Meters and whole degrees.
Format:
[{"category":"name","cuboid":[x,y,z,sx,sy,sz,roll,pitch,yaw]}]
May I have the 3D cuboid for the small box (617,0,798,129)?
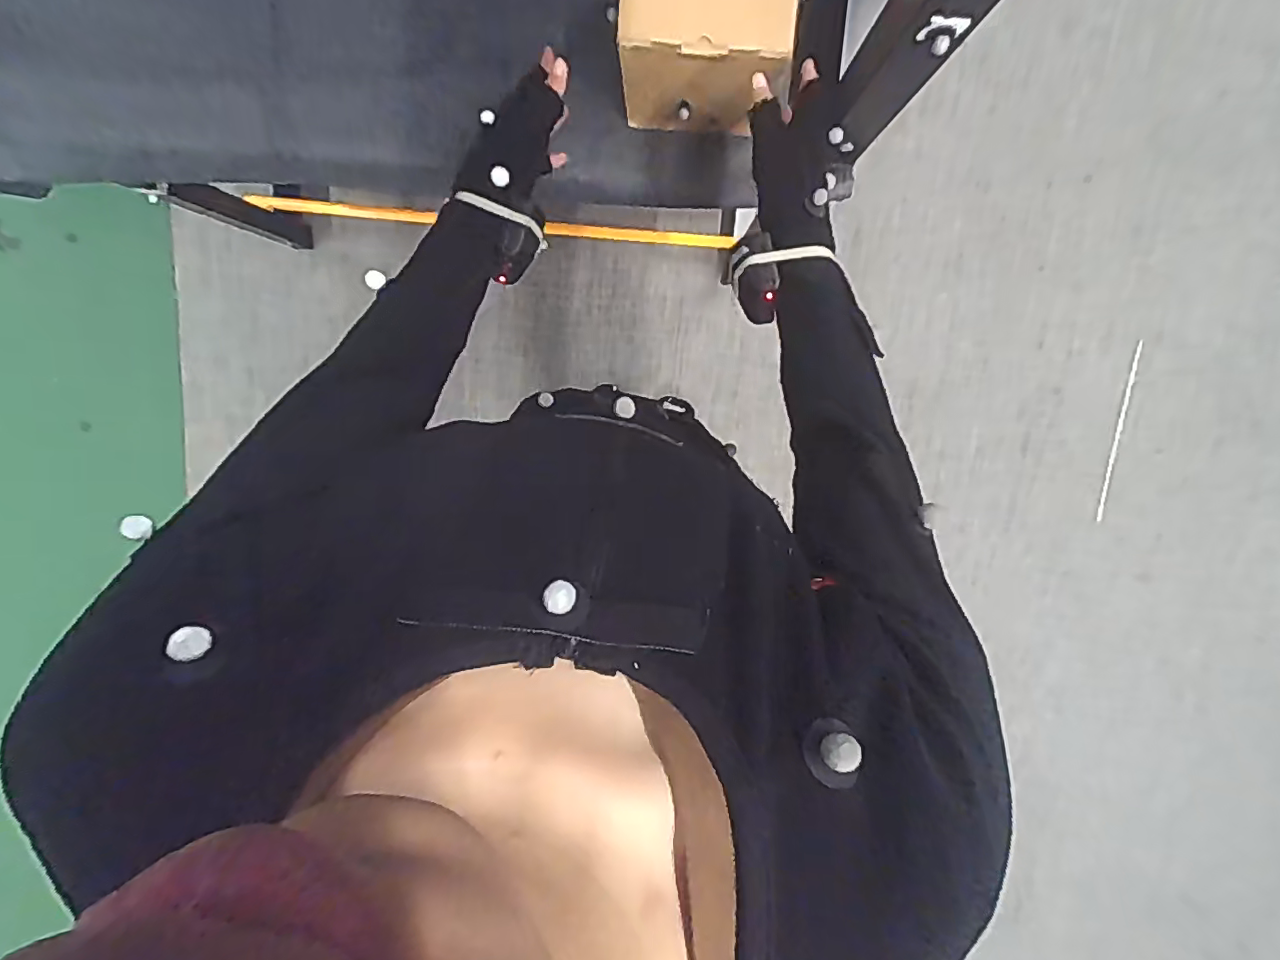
[{"category":"small box","cuboid":[0.069,-0.504,0.562,0.168,0.176,0.179,5,101,1]}]
